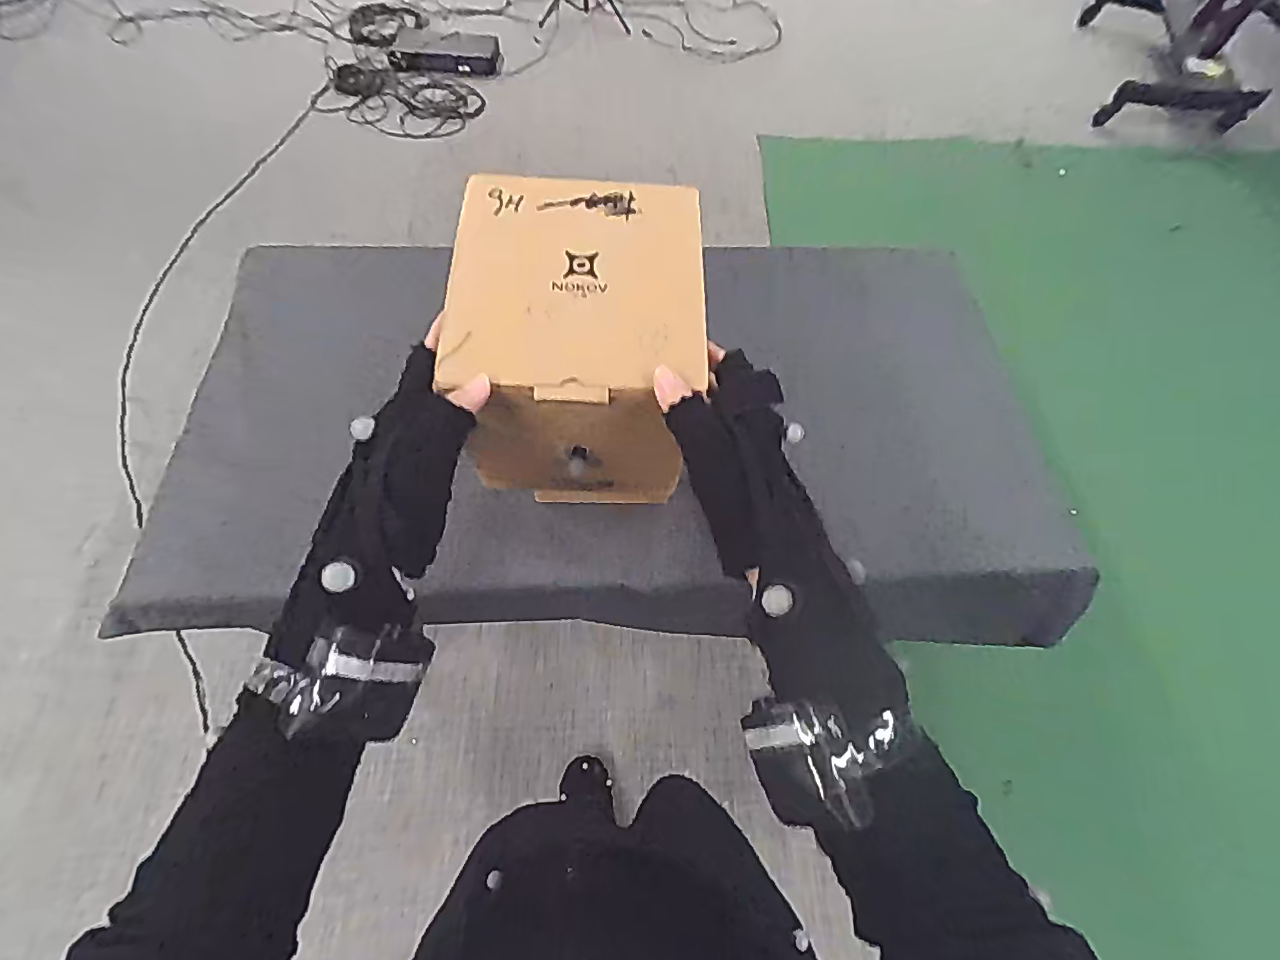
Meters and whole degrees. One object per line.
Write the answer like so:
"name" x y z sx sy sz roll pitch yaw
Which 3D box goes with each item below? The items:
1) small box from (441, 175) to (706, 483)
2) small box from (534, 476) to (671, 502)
"small box" -0.042 -0.104 0.430 0.168 0.176 0.179 1 69 -3
"small box" -0.044 -0.079 0.684 0.179 0.176 0.168 0 62 -1
